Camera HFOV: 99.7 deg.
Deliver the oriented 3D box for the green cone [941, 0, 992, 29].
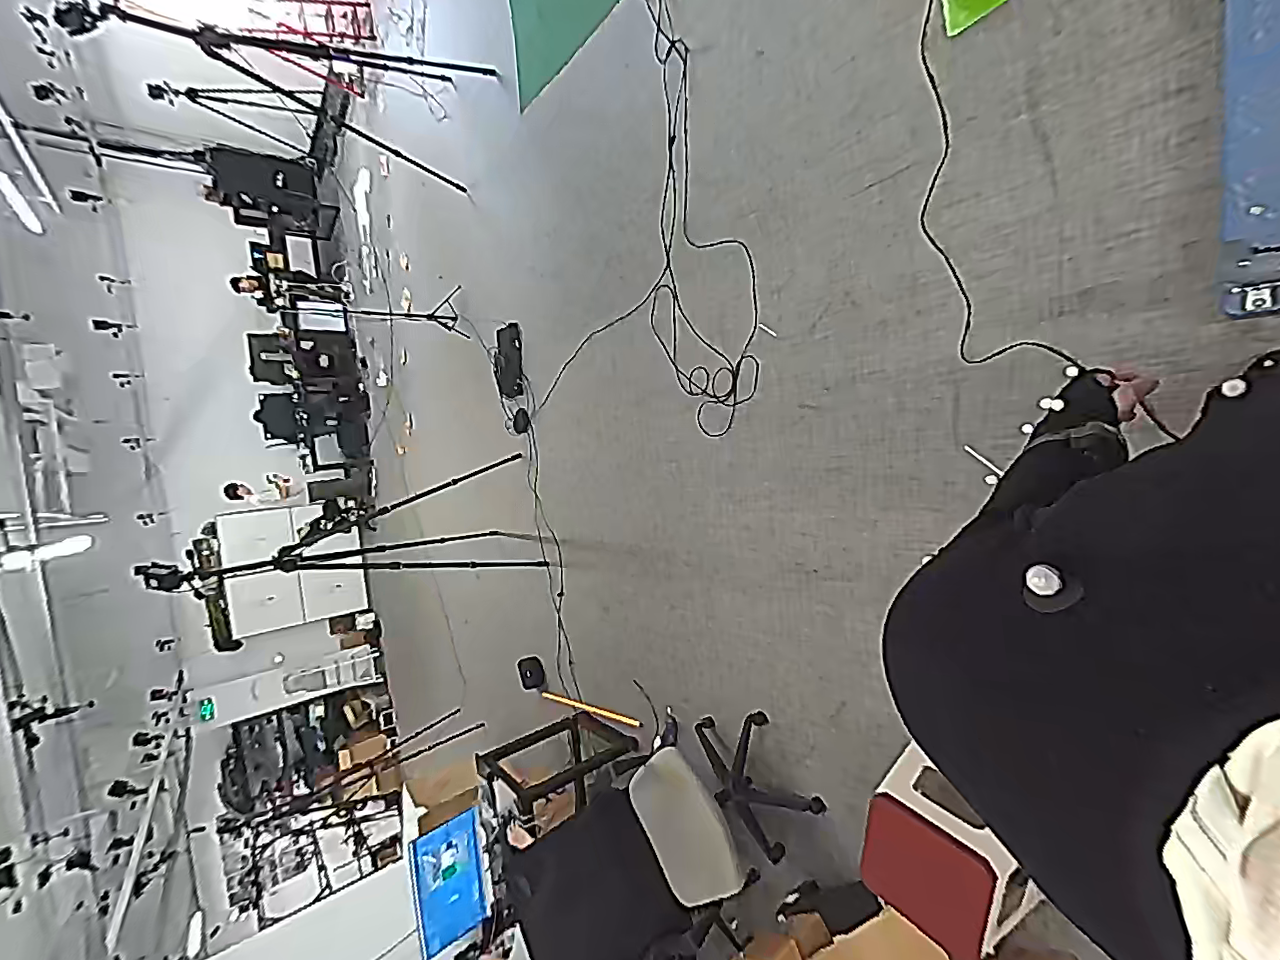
[{"bbox_3d":[0.729,-1.287,1.275,0.202,0.368,0.200,-8,90,55],"label":"green cone"}]
